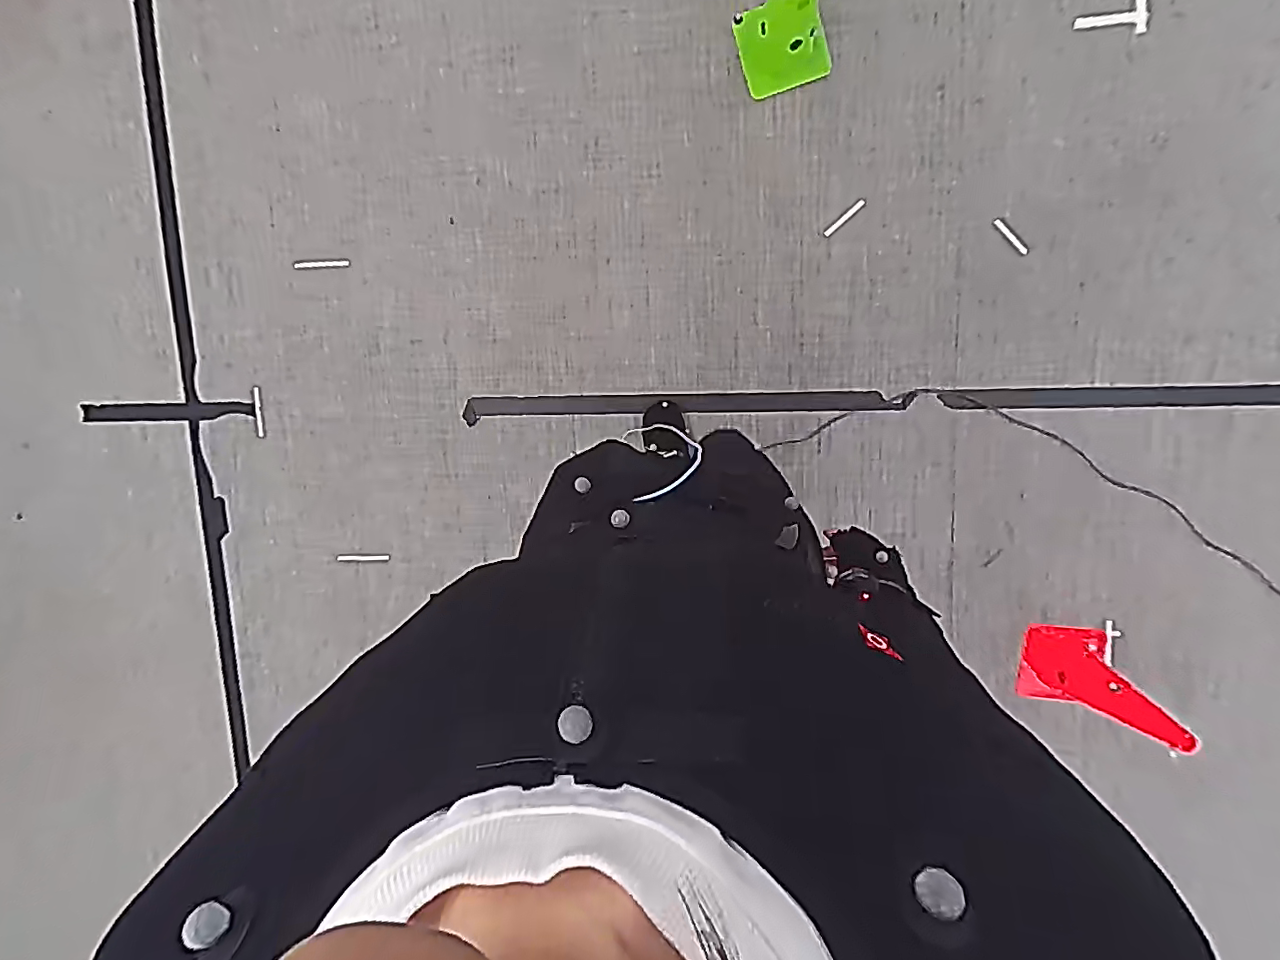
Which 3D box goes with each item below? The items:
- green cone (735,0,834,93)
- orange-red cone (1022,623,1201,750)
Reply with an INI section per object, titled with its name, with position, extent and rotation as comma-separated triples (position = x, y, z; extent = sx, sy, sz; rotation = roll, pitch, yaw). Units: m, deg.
[green cone]
position = 0.332, -1.024, 1.112
extent = 0.202, 0.368, 0.200
rotation = -17, 95, 5
[orange-red cone]
position = 1.077, 0.488, 1.216
extent = 0.199, 0.360, 0.198
rotation = 7, 96, 5
